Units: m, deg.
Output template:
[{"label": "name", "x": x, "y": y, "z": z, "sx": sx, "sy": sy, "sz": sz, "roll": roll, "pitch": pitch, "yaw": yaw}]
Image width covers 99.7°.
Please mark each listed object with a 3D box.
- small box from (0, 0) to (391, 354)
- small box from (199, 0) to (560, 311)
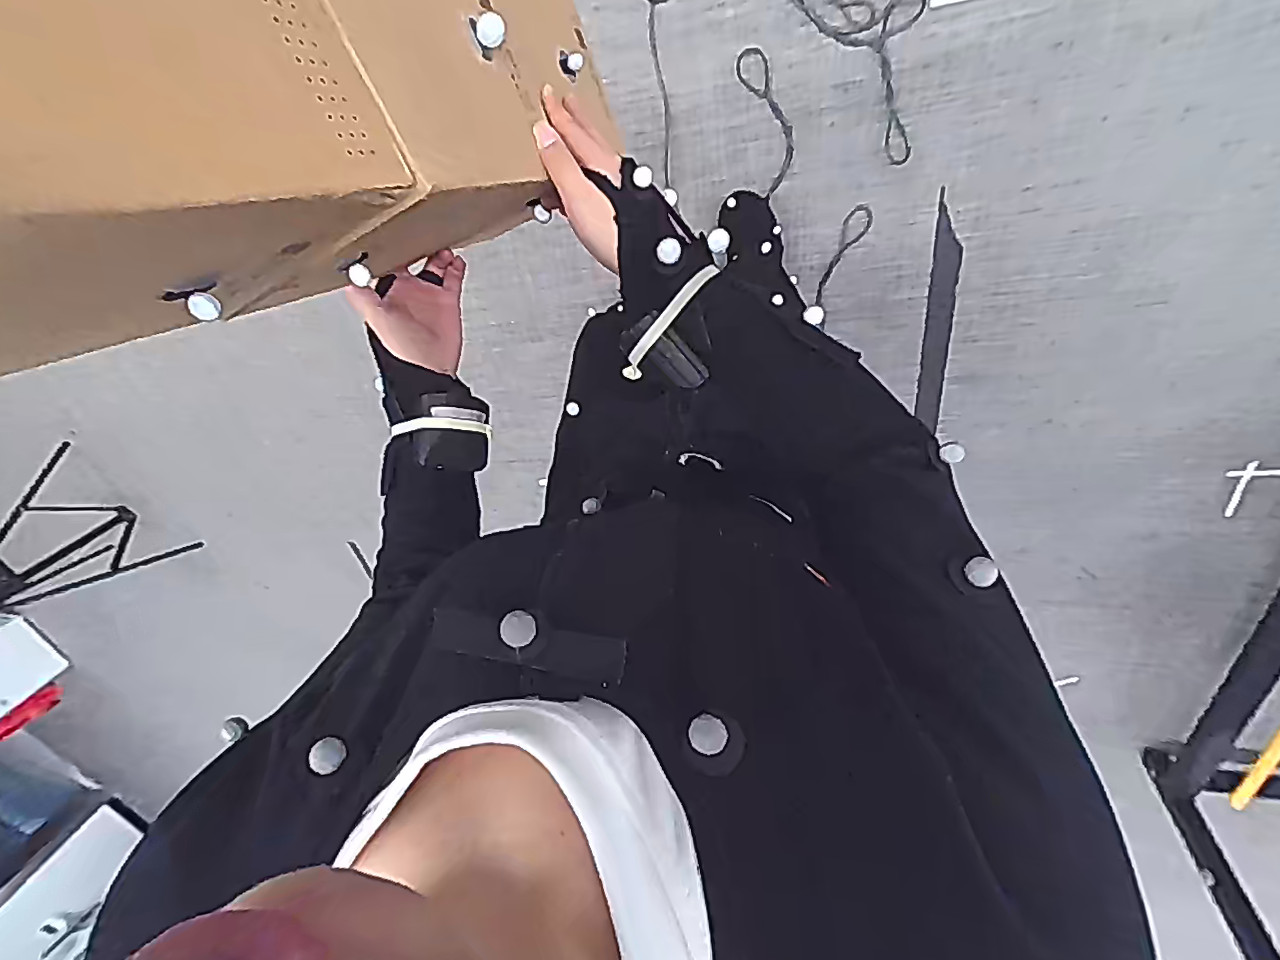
[{"label": "small box", "x": -0.226, "y": -0.145, "z": 0.170, "sx": 0.168, "sy": 0.176, "sz": 0.179, "roll": -15, "pitch": 115, "yaw": 26}, {"label": "small box", "x": -0.176, "y": -0.218, "z": 0.306, "sx": 0.179, "sy": 0.176, "sz": 0.168, "roll": -14, "pitch": 115, "yaw": 25}]
